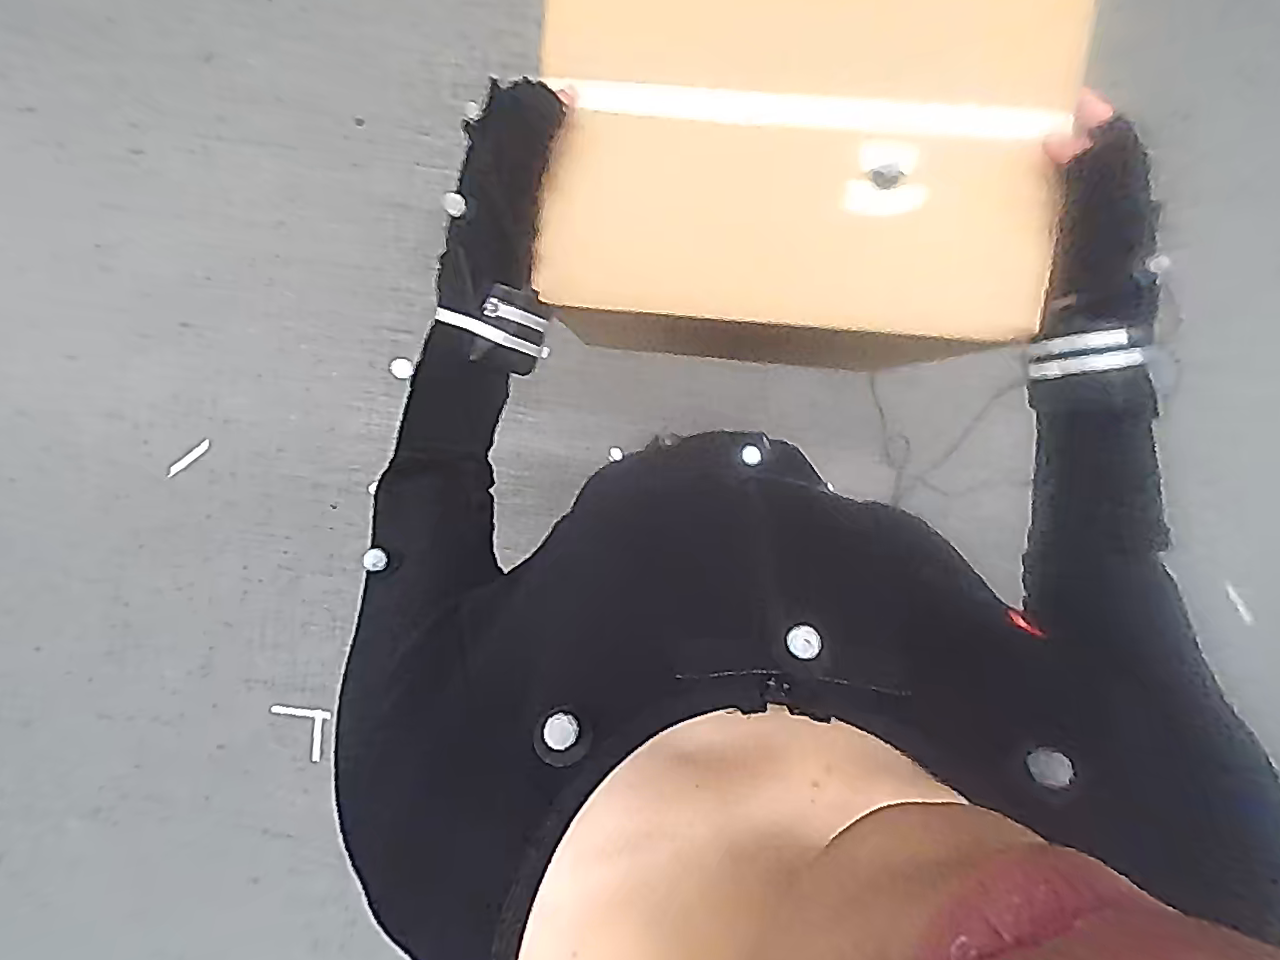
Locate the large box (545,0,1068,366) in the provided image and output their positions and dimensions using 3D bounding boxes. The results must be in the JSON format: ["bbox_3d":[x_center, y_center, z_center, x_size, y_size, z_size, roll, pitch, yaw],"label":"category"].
[{"bbox_3d":[0.129,-0.304,0.581,0.408,0.320,0.320,5,97,1],"label":"large box"}]
